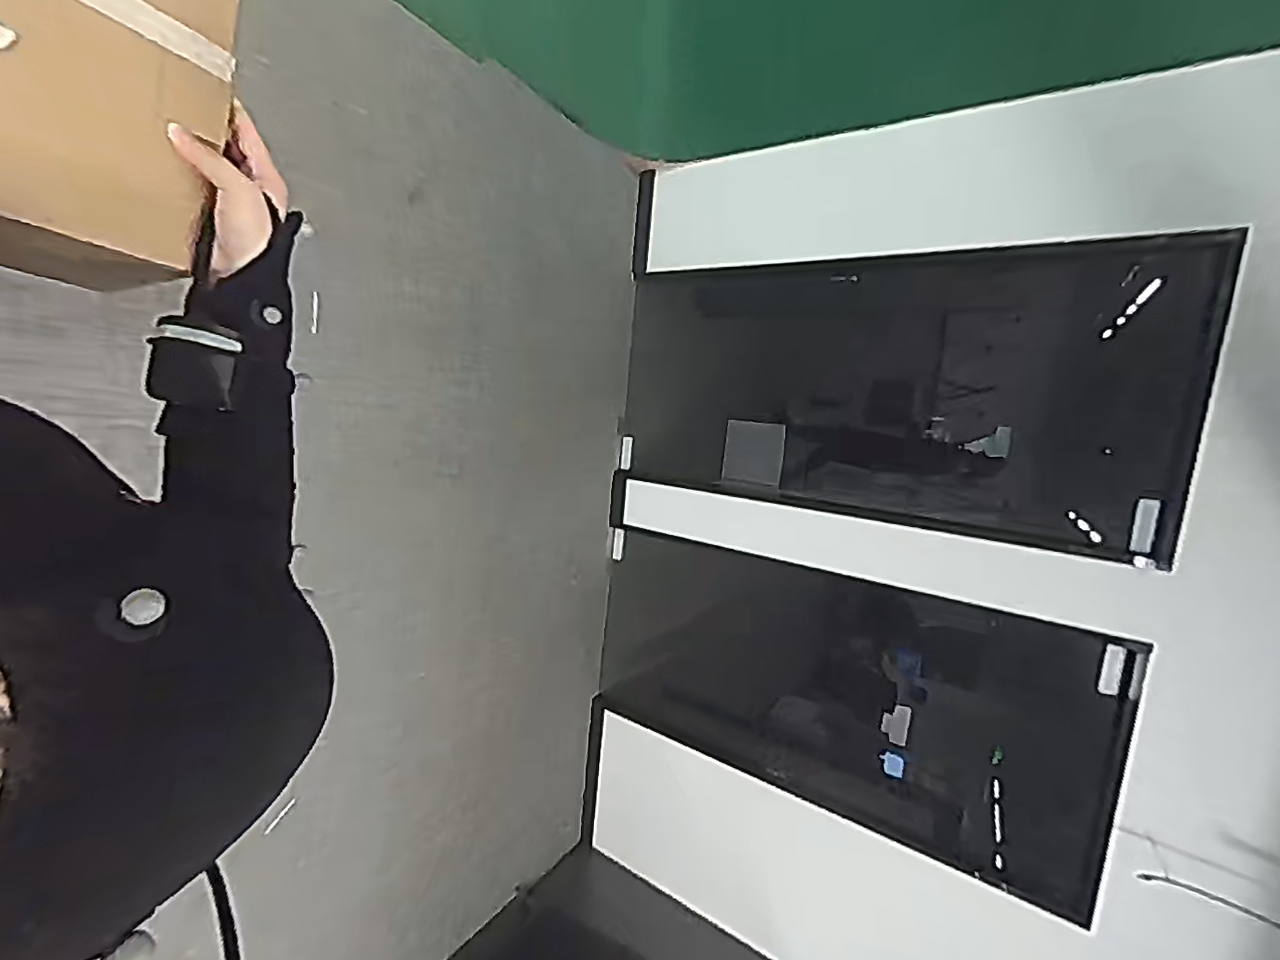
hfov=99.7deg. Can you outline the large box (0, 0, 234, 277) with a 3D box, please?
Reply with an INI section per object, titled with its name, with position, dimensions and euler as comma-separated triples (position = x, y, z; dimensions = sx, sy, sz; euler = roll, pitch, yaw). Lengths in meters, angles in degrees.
[large box]
position = -0.552, -0.356, 0.337
dimensions = 0.408, 0.320, 0.320
euler = 6, 94, -55
